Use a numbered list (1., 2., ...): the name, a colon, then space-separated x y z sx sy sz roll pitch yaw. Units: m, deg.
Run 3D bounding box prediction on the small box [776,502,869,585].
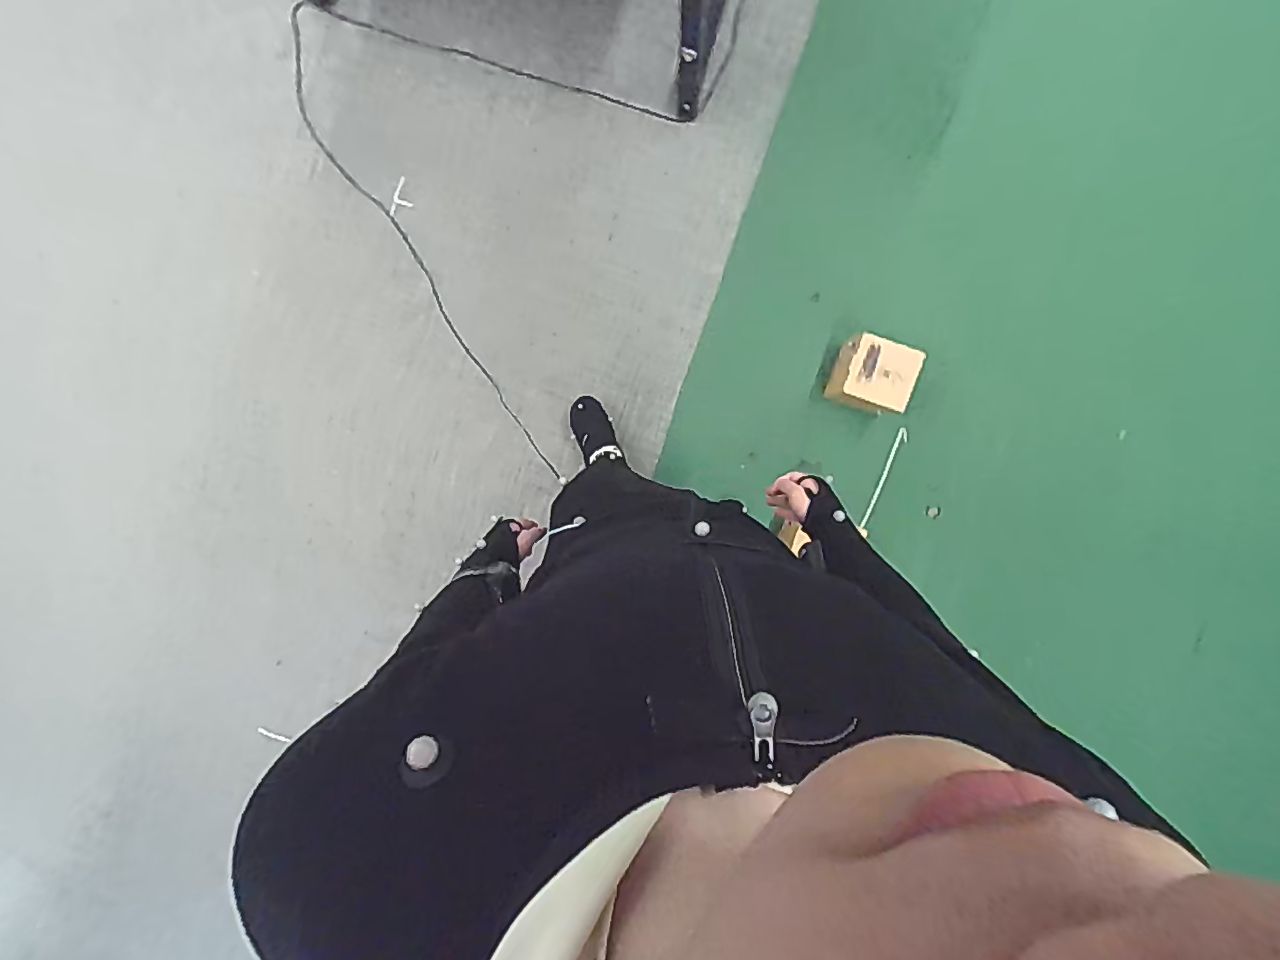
1. small box: 0.512 0.172 1.541 0.179 0.176 0.168 23 96 2
